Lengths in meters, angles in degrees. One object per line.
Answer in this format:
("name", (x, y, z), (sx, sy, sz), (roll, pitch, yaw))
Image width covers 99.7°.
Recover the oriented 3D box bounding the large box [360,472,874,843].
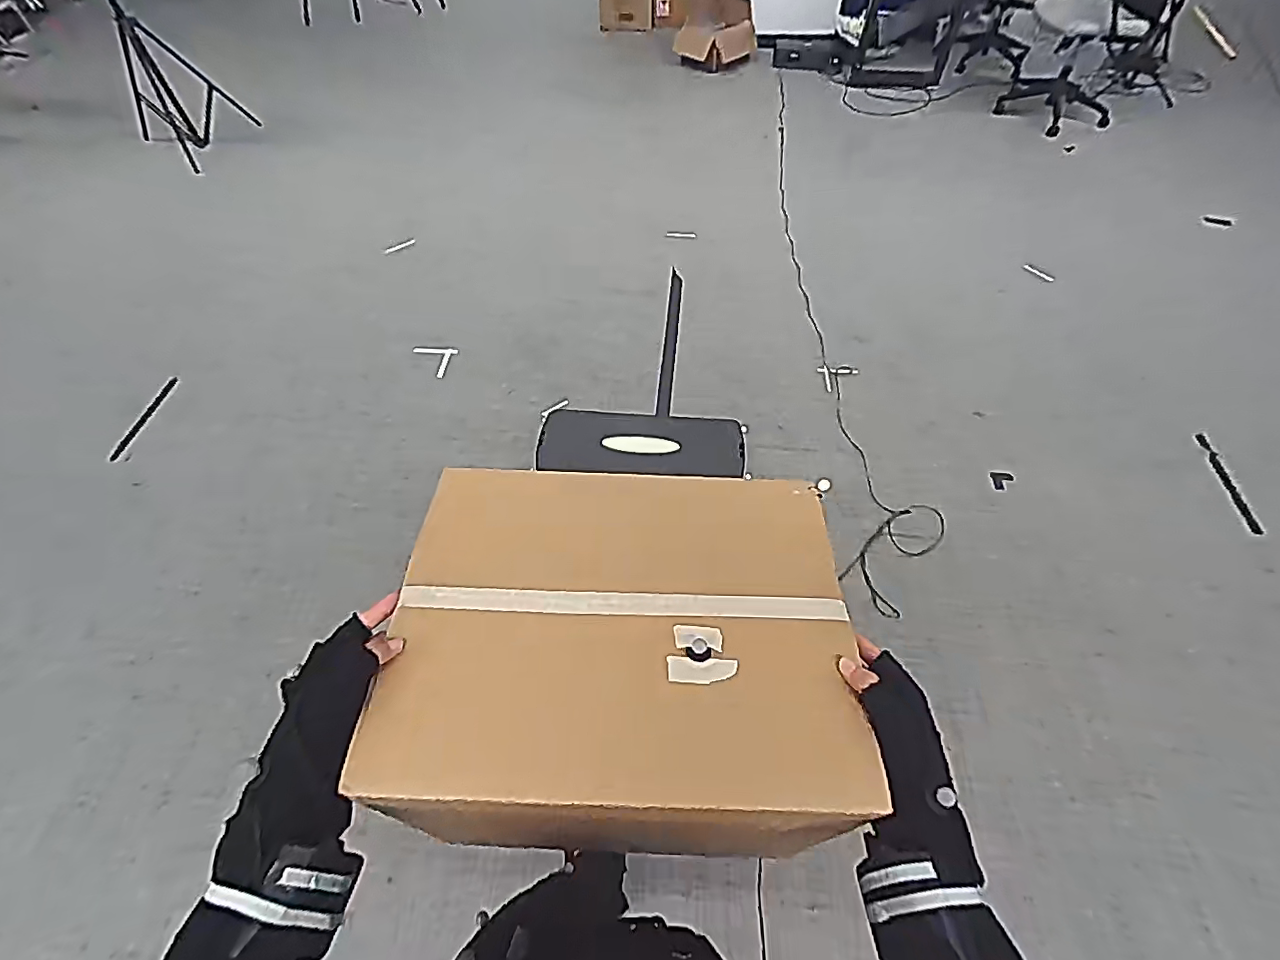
("large box", (-0.020, 0.209, 0.619), (0.408, 0.320, 0.320), (2, 50, 0))
